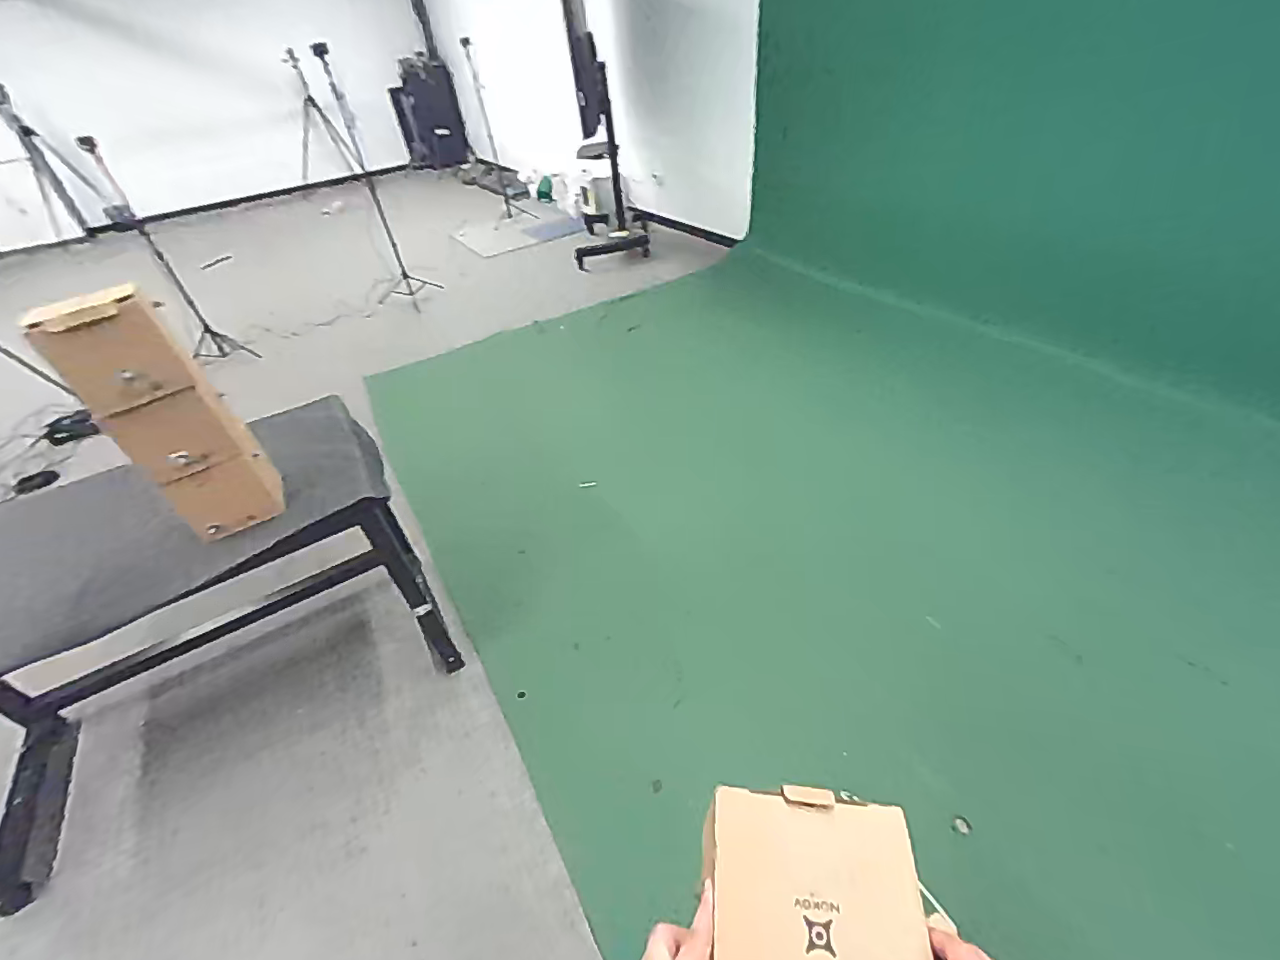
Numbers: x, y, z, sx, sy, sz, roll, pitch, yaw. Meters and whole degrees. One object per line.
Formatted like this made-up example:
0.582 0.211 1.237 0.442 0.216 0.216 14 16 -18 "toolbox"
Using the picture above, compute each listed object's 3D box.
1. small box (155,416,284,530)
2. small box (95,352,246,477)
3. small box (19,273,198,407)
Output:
-0.925 -0.011 1.206 0.168 0.176 0.179 -26 41 -20 "small box"
-0.942 -0.134 1.100 0.168 0.176 0.179 -30 44 -22 "small box"
-0.956 -0.257 0.991 0.168 0.176 0.179 -32 44 -24 "small box"
